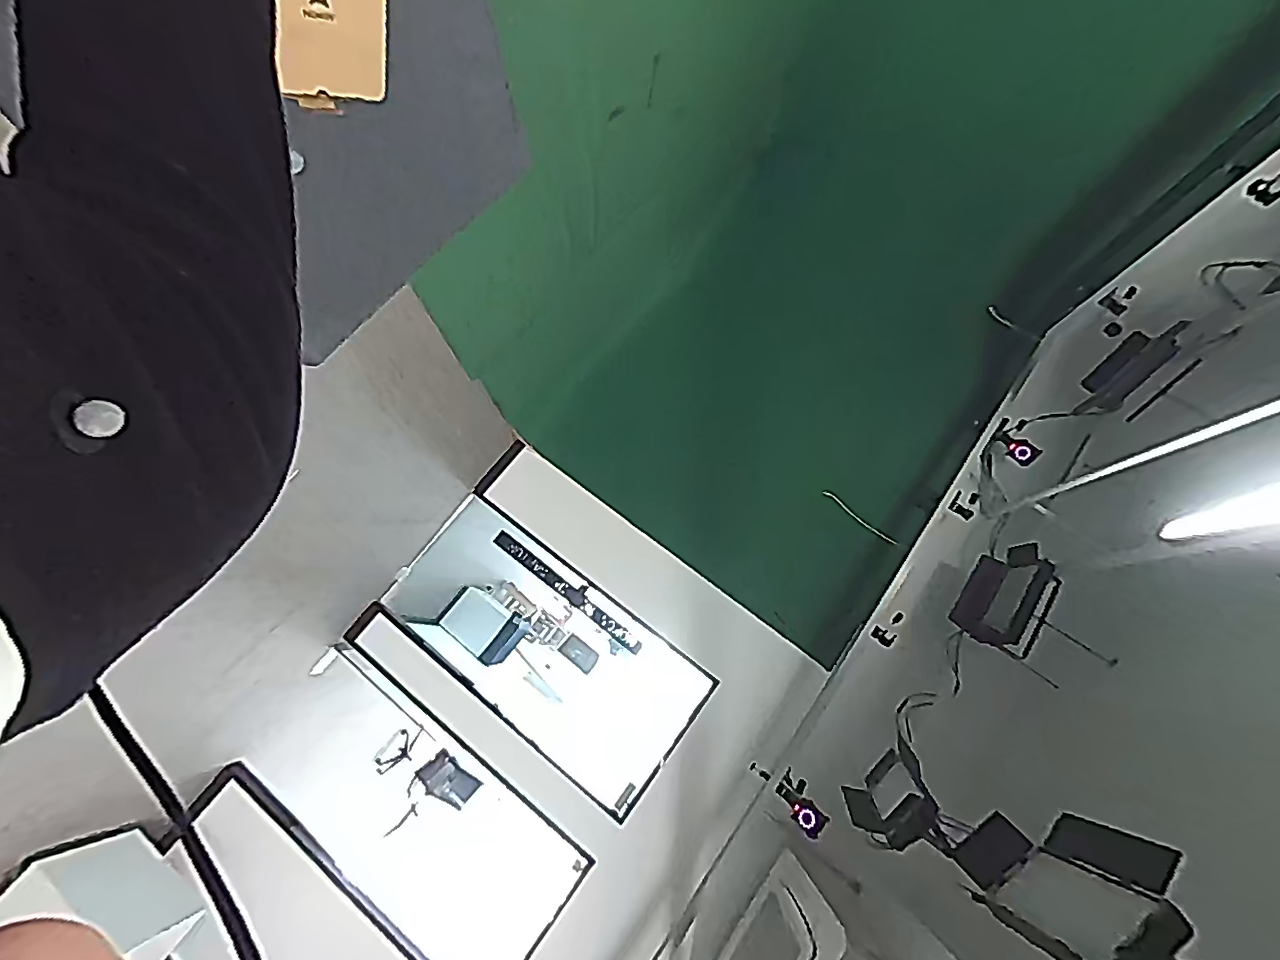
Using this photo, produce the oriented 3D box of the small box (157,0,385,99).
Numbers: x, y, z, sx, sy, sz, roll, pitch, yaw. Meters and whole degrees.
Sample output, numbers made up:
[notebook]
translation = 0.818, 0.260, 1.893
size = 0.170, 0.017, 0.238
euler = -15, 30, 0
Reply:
[small box]
translation = -0.400, -0.551, 0.577
size = 0.168, 0.176, 0.179
euler = -38, 163, -47
